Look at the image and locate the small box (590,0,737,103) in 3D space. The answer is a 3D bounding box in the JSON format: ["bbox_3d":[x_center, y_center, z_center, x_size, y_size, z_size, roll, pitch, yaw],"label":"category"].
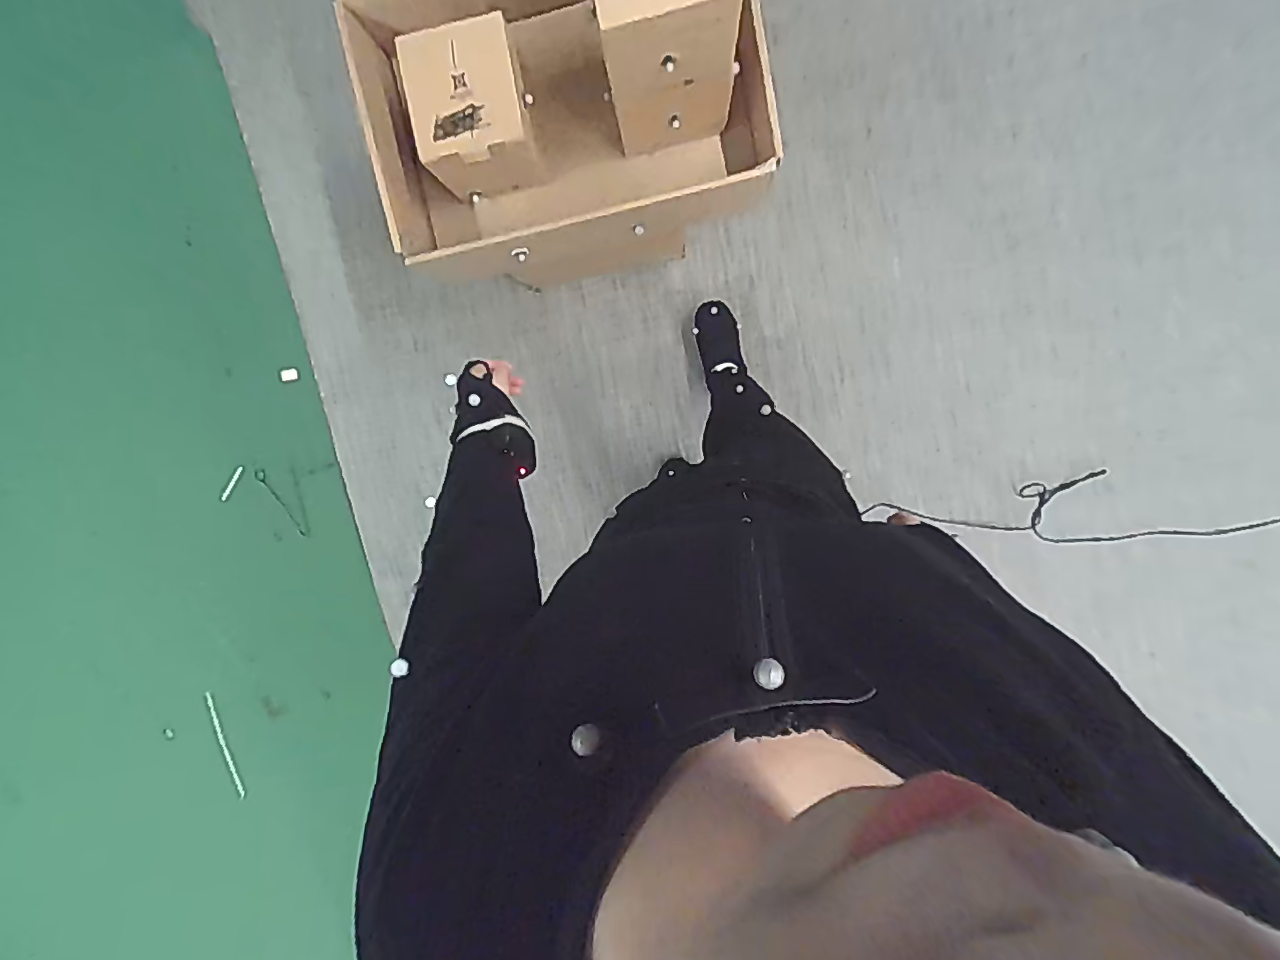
[{"bbox_3d":[0.022,-0.611,0.676,0.168,0.176,0.179,-10,96,6],"label":"small box"}]
